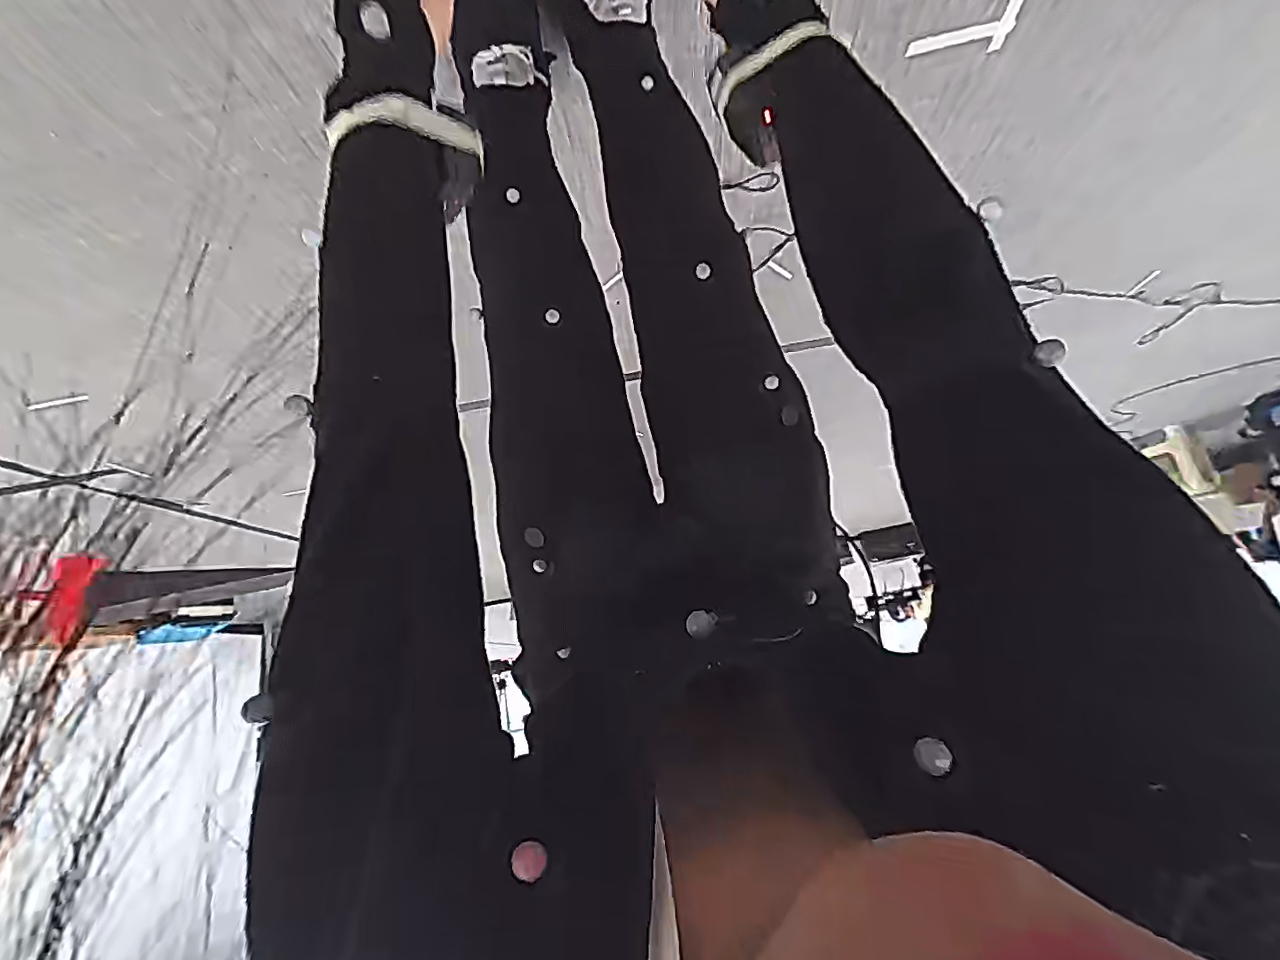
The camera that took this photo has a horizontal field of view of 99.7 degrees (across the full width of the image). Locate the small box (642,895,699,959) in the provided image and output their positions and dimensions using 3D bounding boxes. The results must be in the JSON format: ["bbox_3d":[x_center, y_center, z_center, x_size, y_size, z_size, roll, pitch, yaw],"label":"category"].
[{"bbox_3d":[0.104,1.549,1.834,0.168,0.176,0.179,-10,164,4],"label":"small box"}]

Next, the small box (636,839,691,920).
[{"bbox_3d":[0.079,1.405,1.912,0.168,0.176,0.179,-9,164,-3],"label":"small box"}]
